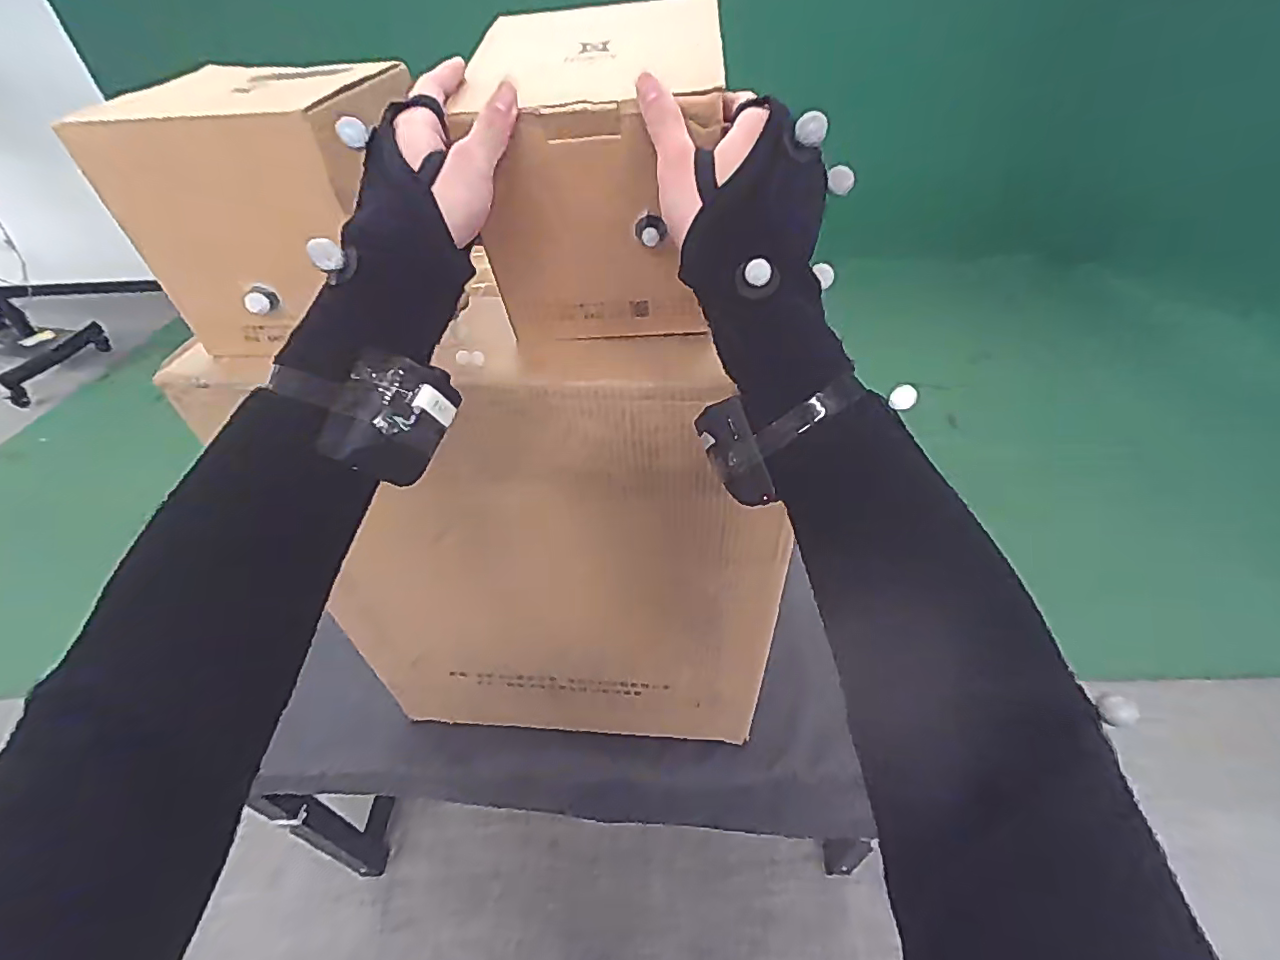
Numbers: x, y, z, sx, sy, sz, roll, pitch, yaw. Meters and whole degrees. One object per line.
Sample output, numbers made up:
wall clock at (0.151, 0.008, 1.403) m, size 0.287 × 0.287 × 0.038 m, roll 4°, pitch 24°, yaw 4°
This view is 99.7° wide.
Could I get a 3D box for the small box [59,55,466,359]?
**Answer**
small box at (-0.254, -0.215, 0.427) m, size 0.168 × 0.176 × 0.179 m, roll 2°, pitch 46°, yaw 6°
